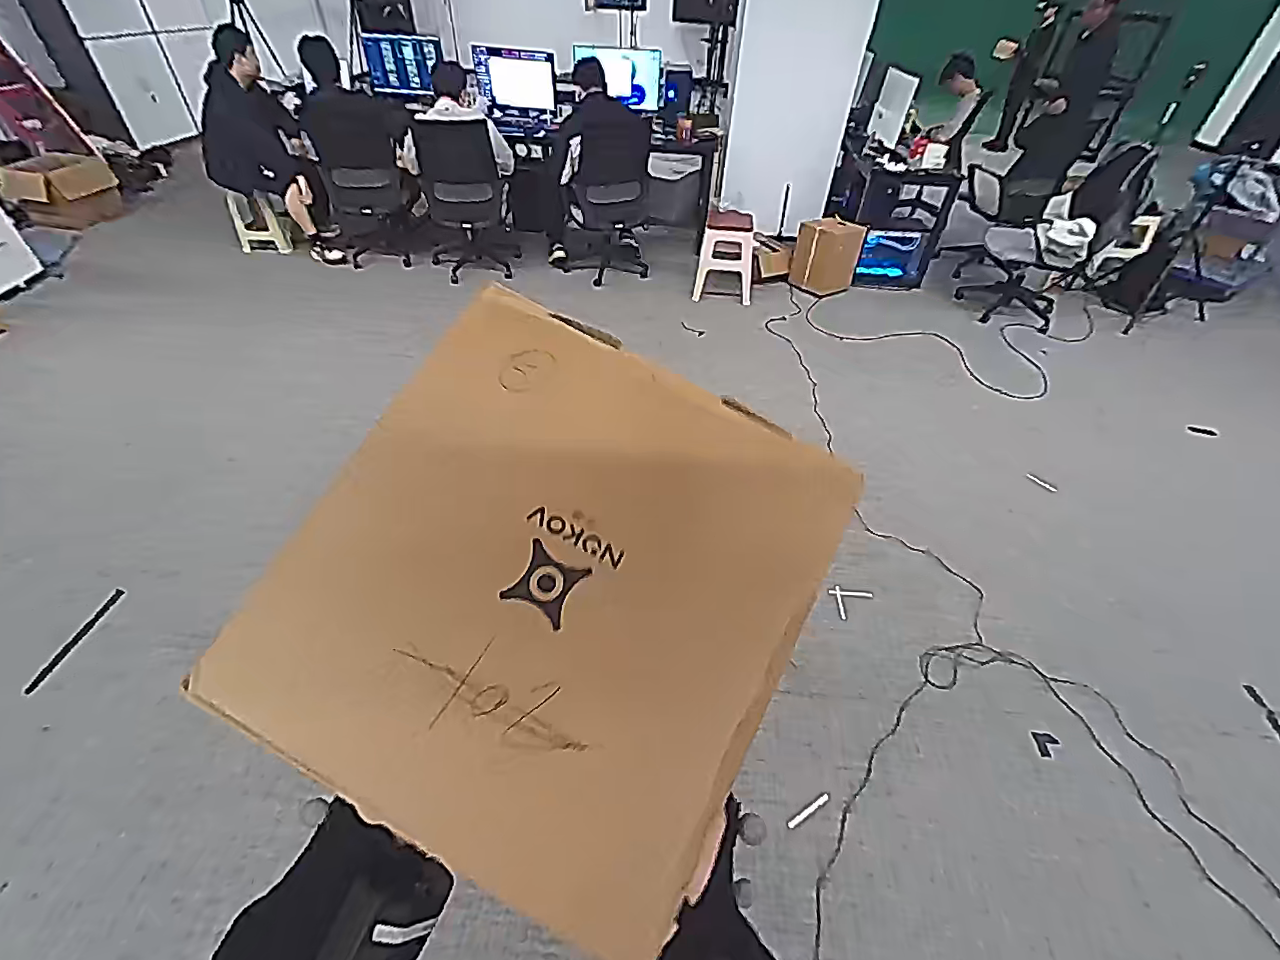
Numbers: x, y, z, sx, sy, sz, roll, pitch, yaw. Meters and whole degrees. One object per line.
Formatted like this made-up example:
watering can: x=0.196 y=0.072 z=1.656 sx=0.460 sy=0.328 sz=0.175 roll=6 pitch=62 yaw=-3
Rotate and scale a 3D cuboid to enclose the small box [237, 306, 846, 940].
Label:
small box: x=-0.031 y=0.056 z=0.273 sx=0.168 sy=0.176 sz=0.179 roll=25 pitch=74 yaw=5
